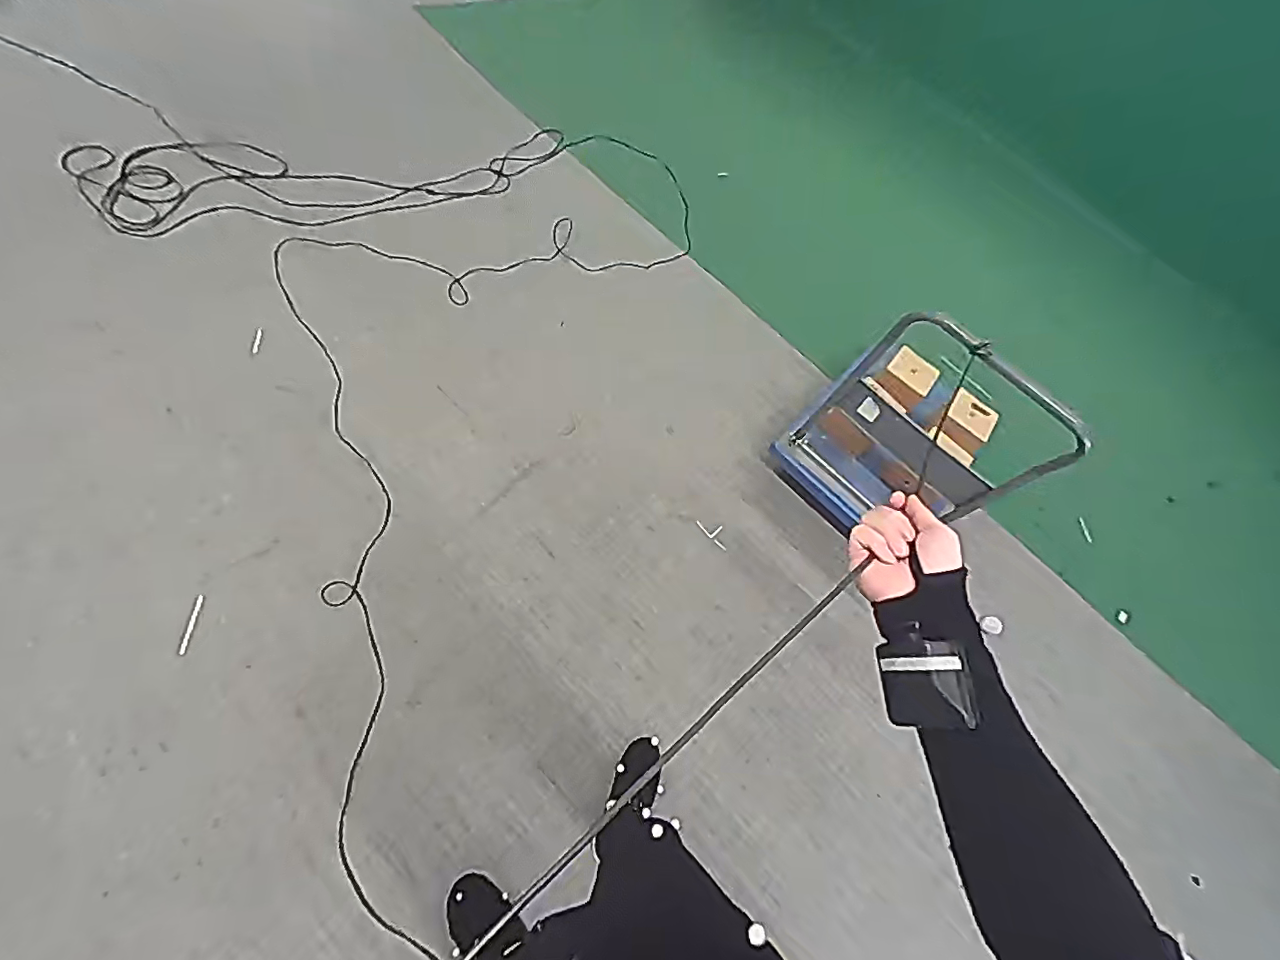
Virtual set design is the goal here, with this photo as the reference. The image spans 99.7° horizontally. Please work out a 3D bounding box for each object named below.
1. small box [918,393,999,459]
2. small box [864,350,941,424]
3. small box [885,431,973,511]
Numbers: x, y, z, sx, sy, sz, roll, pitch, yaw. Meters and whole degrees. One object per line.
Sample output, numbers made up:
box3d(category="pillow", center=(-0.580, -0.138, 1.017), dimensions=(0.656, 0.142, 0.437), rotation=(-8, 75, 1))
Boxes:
box3d(category="small box", center=(1.149, -0.176, 1.961), dimensions=(0.168, 0.176, 0.179), rotation=(41, 59, 9))
box3d(category="small box", center=(0.961, -0.338, 1.998), dimensions=(0.168, 0.176, 0.179), rotation=(42, 58, 8))
box3d(category="small box", center=(0.969, -0.027, 1.825), dimensions=(0.168, 0.176, 0.179), rotation=(45, 60, 11))
